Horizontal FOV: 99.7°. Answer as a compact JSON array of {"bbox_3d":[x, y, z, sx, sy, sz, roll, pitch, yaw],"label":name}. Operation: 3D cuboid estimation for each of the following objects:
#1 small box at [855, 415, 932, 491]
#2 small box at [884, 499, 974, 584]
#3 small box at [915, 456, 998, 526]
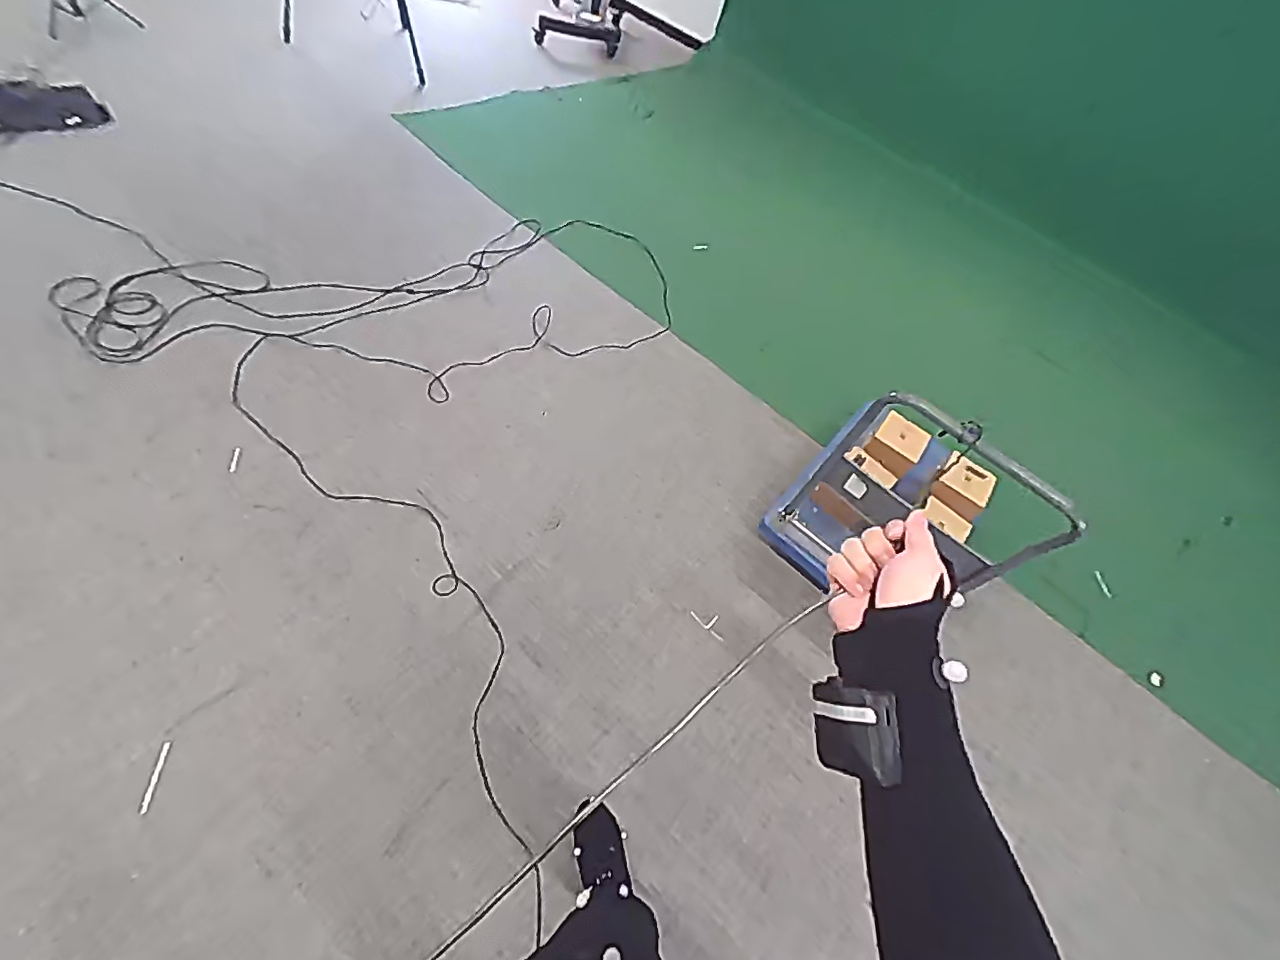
[{"bbox_3d":[0.903,-0.092,1.944,0.168,0.176,0.179,38,55,12],"label":"small box"},{"bbox_3d":[0.924,0.201,1.743,0.168,0.176,0.179,41,57,16],"label":"small box"},{"bbox_3d":[1.099,0.055,1.888,0.168,0.176,0.179,37,56,14],"label":"small box"}]
